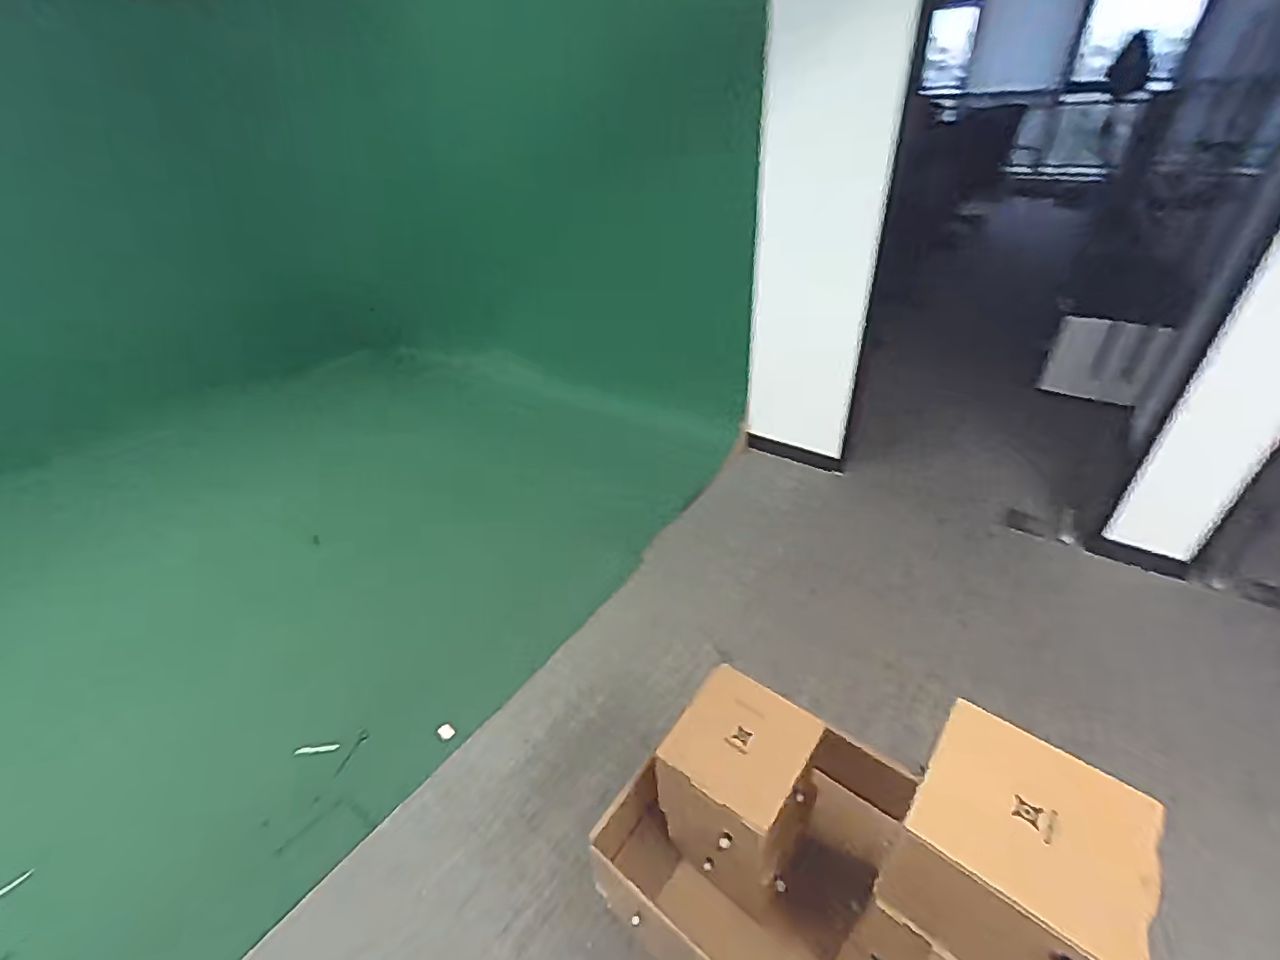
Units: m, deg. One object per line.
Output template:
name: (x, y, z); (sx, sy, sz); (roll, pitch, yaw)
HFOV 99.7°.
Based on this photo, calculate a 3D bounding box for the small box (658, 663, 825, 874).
small box: (0.146, 0.413, 0.779); (0.168, 0.176, 0.179); (24, 45, 33)

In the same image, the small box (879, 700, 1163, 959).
small box: (0.364, 0.370, 0.540); (0.179, 0.176, 0.168); (25, 46, 33)

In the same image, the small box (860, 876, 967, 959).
small box: (0.376, 0.503, 0.634); (0.168, 0.176, 0.179); (26, 46, 34)
